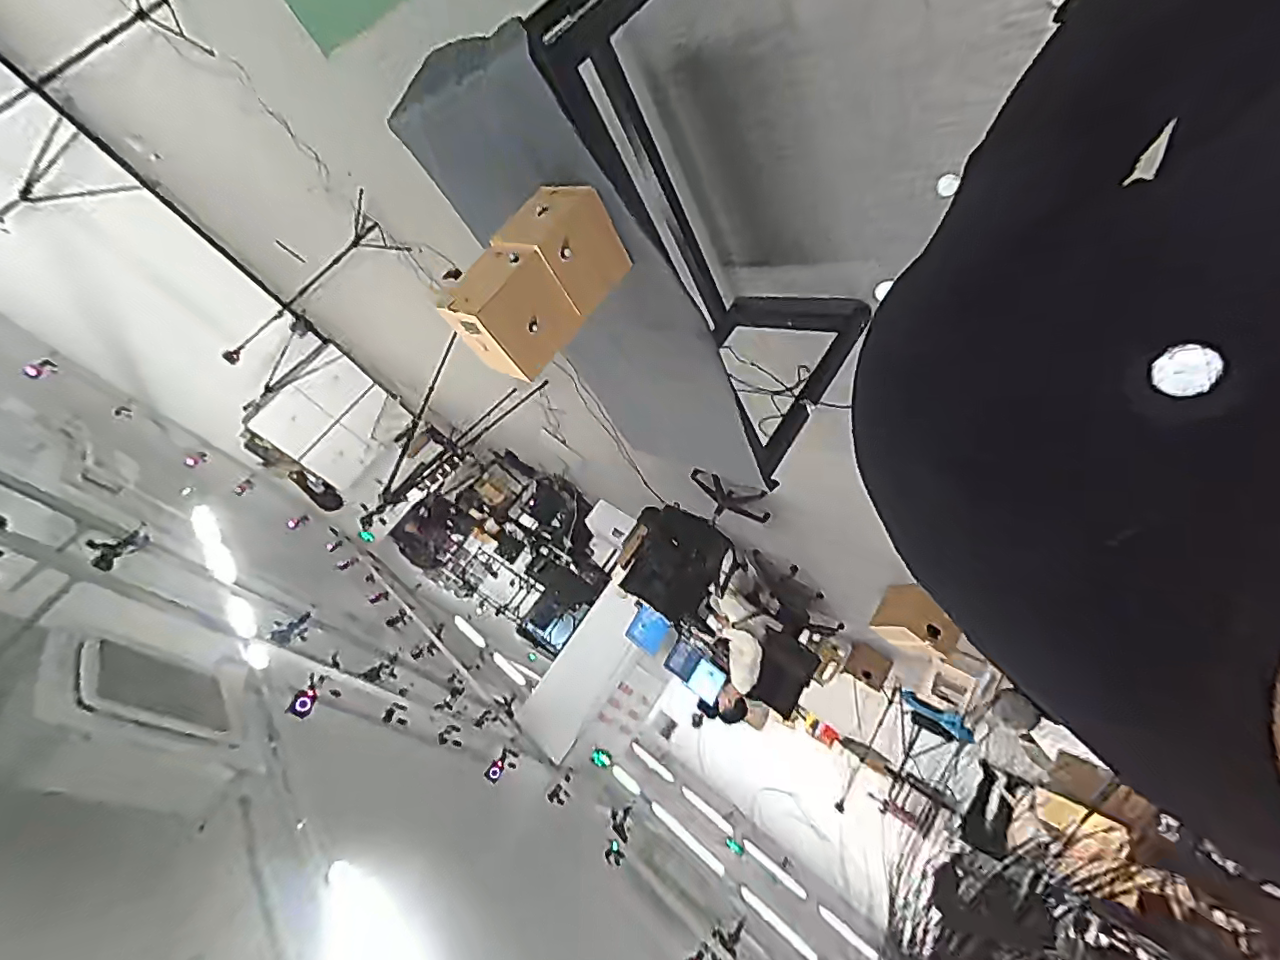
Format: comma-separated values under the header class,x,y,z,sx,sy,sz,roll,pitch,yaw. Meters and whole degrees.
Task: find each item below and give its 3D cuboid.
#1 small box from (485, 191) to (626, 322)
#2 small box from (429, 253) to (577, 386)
class,x,y,z,sx,sy,sz,roll,pitch,yaw
small box,-0.161,-0.445,1.068,0.168,0.176,0.179,25,161,39
small box,-0.257,-0.313,1.042,0.168,0.176,0.179,24,161,40
